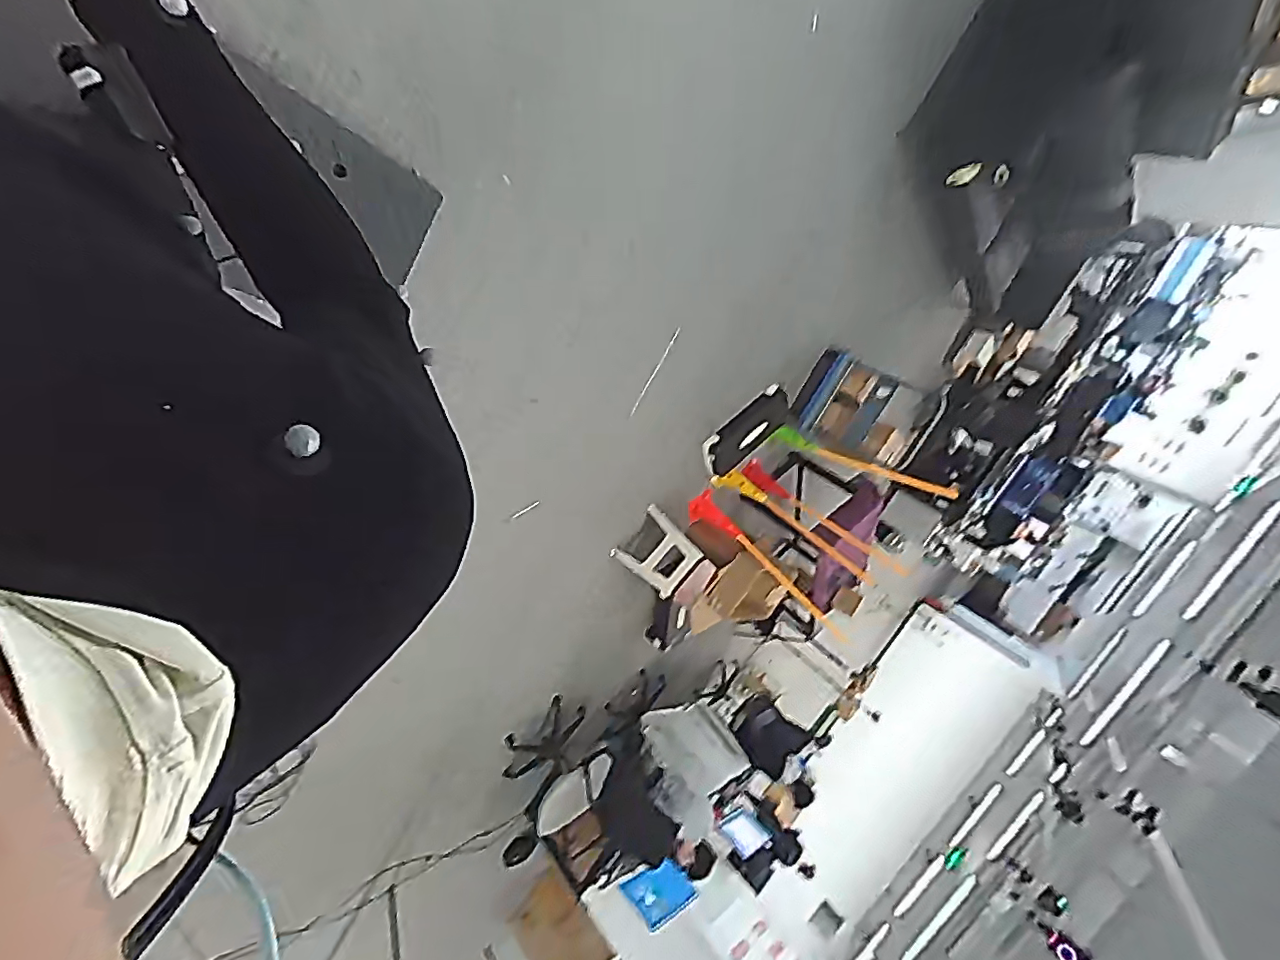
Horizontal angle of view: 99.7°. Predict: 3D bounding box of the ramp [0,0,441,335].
[{"bbox_3d":[-0.943,-0.704,1.229,0.991,0.206,0.509,13,108,-52],"label":"ramp"}]
